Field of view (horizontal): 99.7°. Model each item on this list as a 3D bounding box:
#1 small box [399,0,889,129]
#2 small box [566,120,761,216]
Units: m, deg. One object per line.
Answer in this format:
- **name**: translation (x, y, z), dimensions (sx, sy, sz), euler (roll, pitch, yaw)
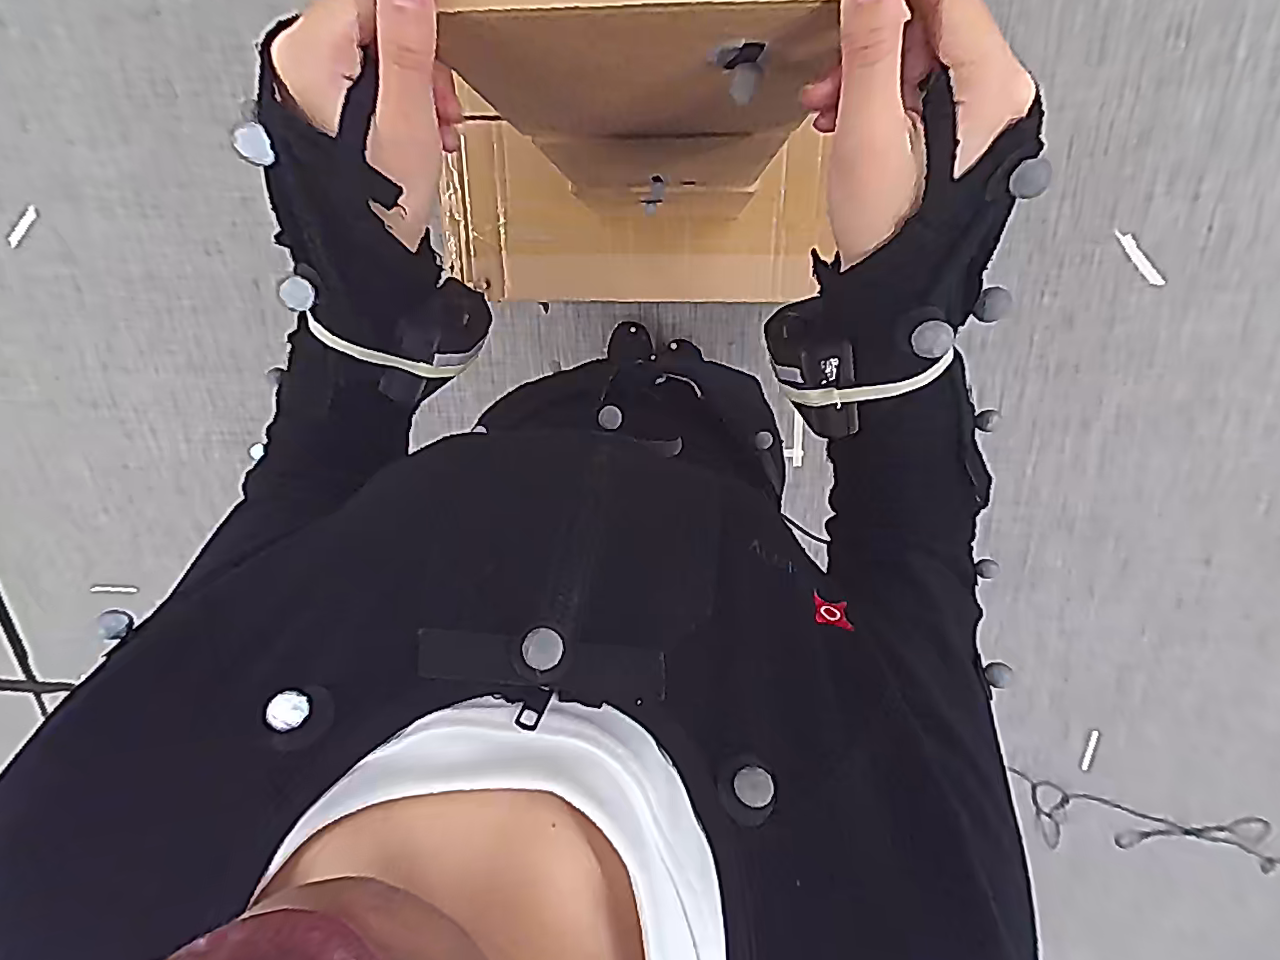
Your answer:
- **small box**: translation (0.006, -0.268, 0.231), dimensions (0.179, 0.176, 0.168), euler (2, 109, 4)
- **small box**: translation (0.027, -0.367, 0.545), dimensions (0.179, 0.176, 0.168), euler (2, 109, 3)
